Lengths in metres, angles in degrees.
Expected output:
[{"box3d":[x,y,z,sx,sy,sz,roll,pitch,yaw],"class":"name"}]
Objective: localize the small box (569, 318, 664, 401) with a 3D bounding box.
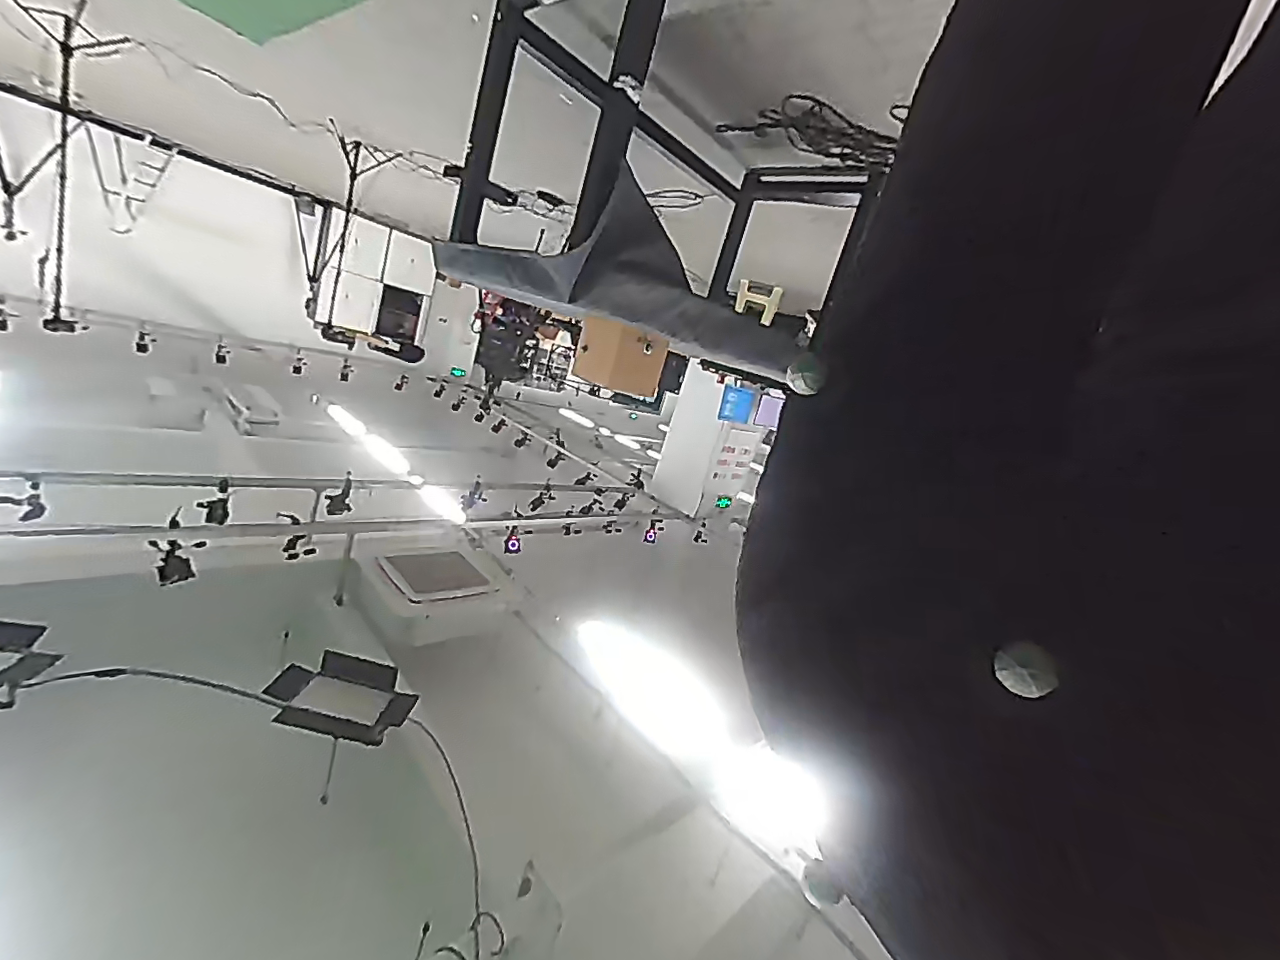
[{"box3d":[-0.060,-0.323,1.432,0.168,0.176,0.179,3,-162,-41],"class":"small box"}]
